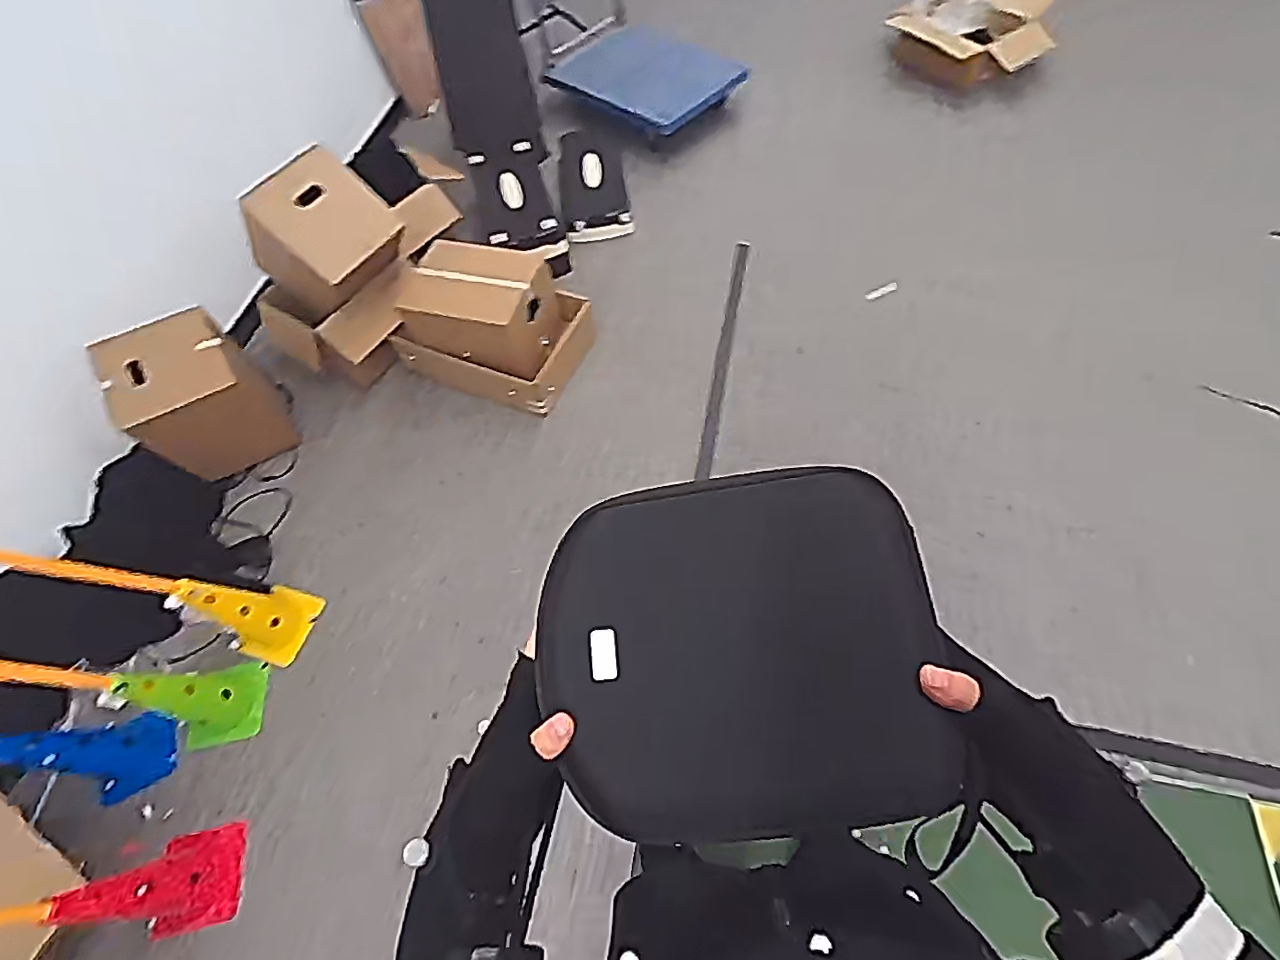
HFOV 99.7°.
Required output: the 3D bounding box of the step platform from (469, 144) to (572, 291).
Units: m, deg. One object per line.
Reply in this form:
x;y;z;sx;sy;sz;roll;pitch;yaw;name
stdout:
-0.502;-1.104;2.234;0.286;0.204;0.684;-18;62;-3;step platform
